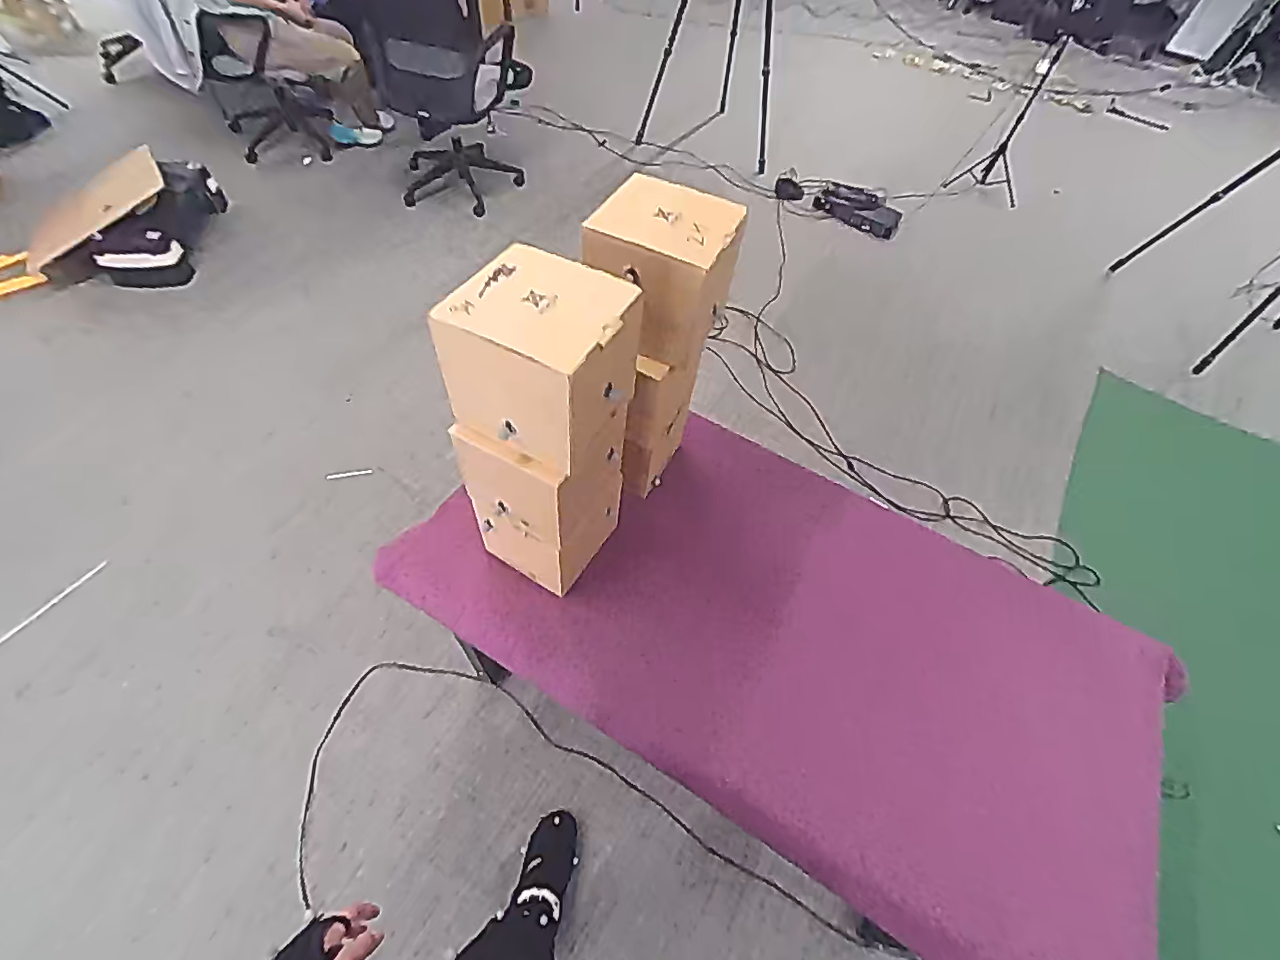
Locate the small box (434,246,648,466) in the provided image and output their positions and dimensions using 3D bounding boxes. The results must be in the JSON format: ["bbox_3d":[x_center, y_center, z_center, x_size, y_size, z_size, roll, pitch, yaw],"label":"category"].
[{"bbox_3d":[-0.110,-0.142,0.653,0.179,0.176,0.168,26,55,11],"label":"small box"}]

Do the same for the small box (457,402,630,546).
[{"bbox_3d":[-0.132,-0.040,0.779,0.168,0.176,0.179,27,57,13],"label":"small box"}]

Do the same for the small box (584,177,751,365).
[{"bbox_3d":[0.033,-0.293,0.773,0.179,0.176,0.168,24,57,10],"label":"small box"}]
